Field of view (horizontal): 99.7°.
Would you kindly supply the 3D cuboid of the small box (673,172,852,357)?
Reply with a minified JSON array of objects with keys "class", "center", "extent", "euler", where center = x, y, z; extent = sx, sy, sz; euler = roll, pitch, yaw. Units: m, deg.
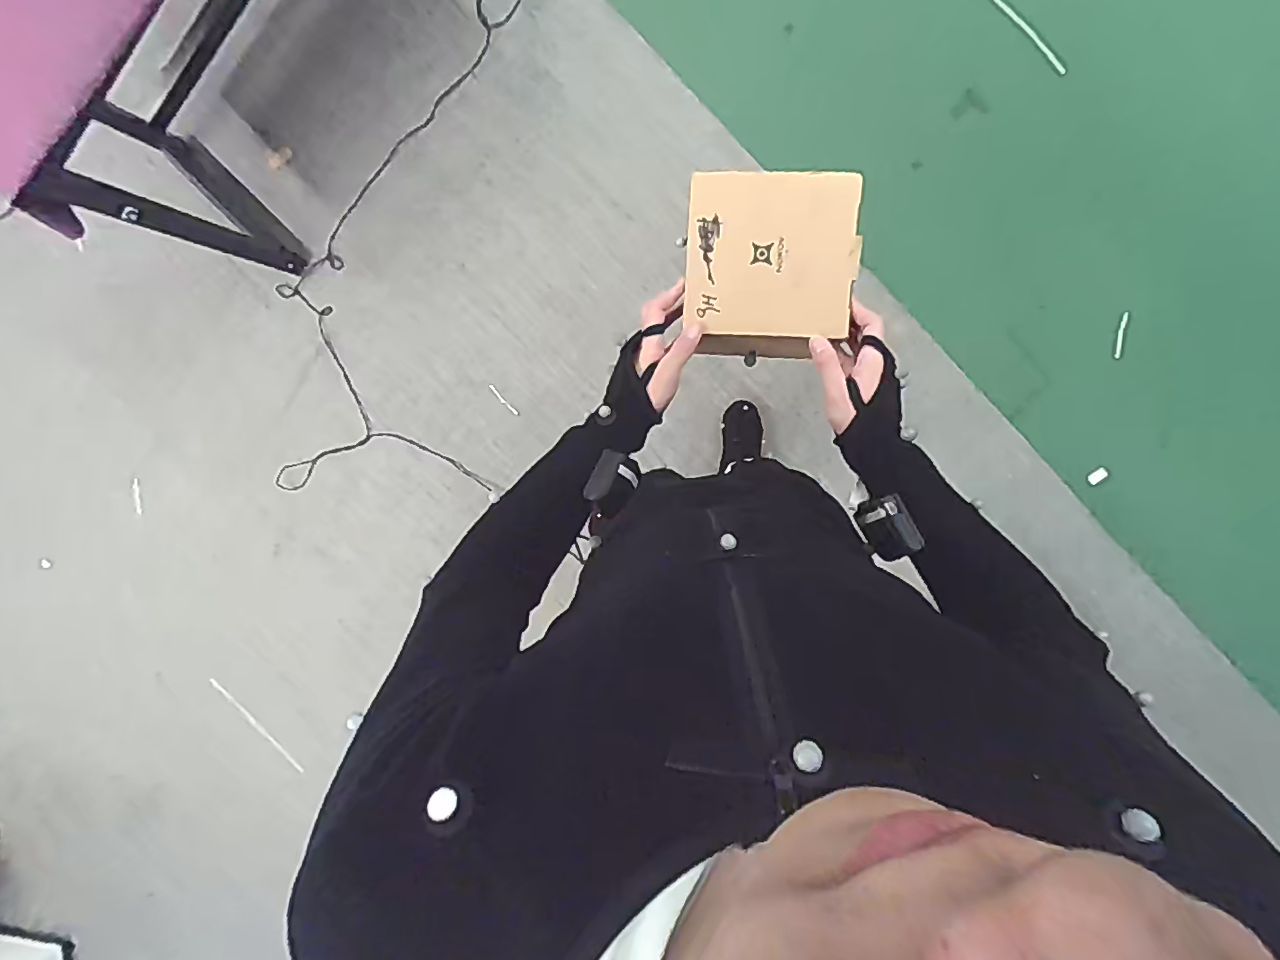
[{"class":"small box","center":[0.134,-0.243,0.648],"extent":[0.179,0.176,0.168],"euler":[4,95,6]}]

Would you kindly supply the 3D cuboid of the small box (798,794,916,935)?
[{"class":"small box","center":[0.470,0.838,1.201],"extent":[0.168,0.176,0.179],"euler":[-31,92,13]}]
